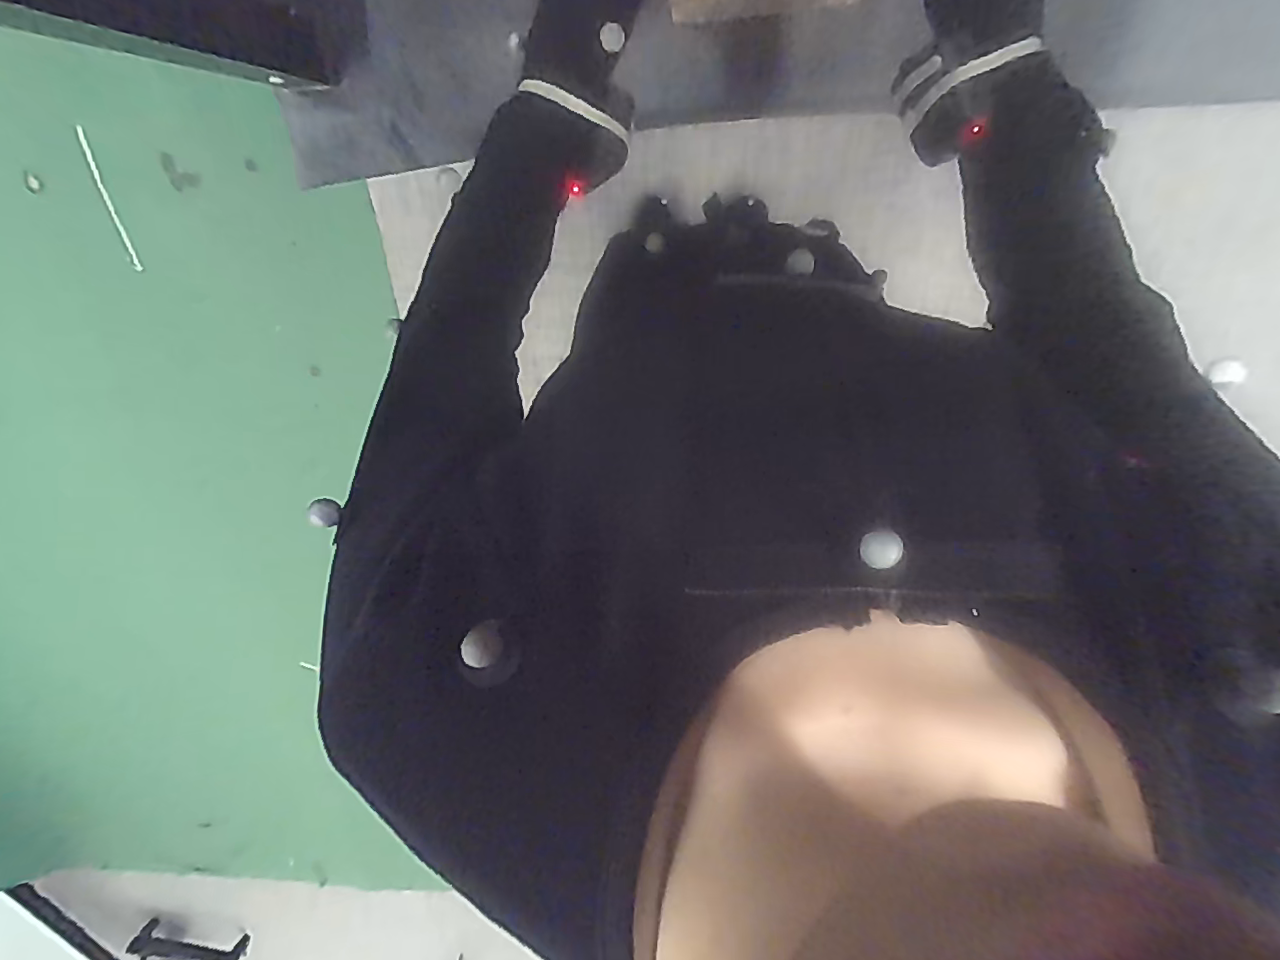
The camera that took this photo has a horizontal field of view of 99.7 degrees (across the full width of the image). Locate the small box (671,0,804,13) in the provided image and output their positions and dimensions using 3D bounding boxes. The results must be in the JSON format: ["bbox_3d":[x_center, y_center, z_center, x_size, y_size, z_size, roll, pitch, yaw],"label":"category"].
[{"bbox_3d":[0.104,-0.480,0.393,0.179,0.168,0.176,-1,118,8],"label":"small box"}]
